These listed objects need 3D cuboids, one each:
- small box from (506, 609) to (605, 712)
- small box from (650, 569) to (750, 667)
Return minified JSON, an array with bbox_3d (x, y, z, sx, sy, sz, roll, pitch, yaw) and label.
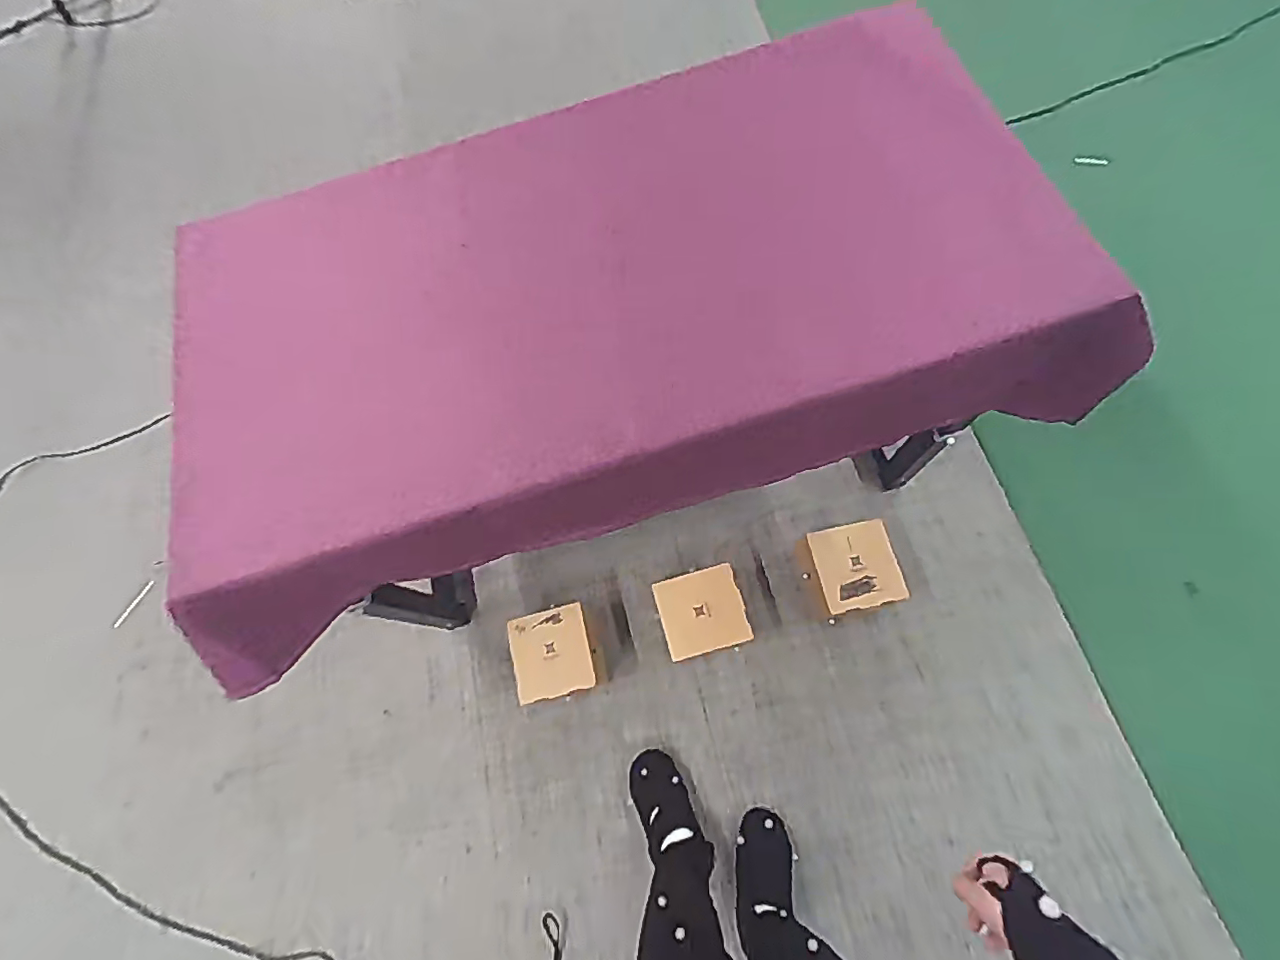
[{"bbox_3d":[-0.181,0.400,1.205,0.168,0.176,0.179,-15,70,-1],"label":"small box"},{"bbox_3d":[0.133,0.313,1.202,0.179,0.176,0.168,-17,69,0],"label":"small box"}]
